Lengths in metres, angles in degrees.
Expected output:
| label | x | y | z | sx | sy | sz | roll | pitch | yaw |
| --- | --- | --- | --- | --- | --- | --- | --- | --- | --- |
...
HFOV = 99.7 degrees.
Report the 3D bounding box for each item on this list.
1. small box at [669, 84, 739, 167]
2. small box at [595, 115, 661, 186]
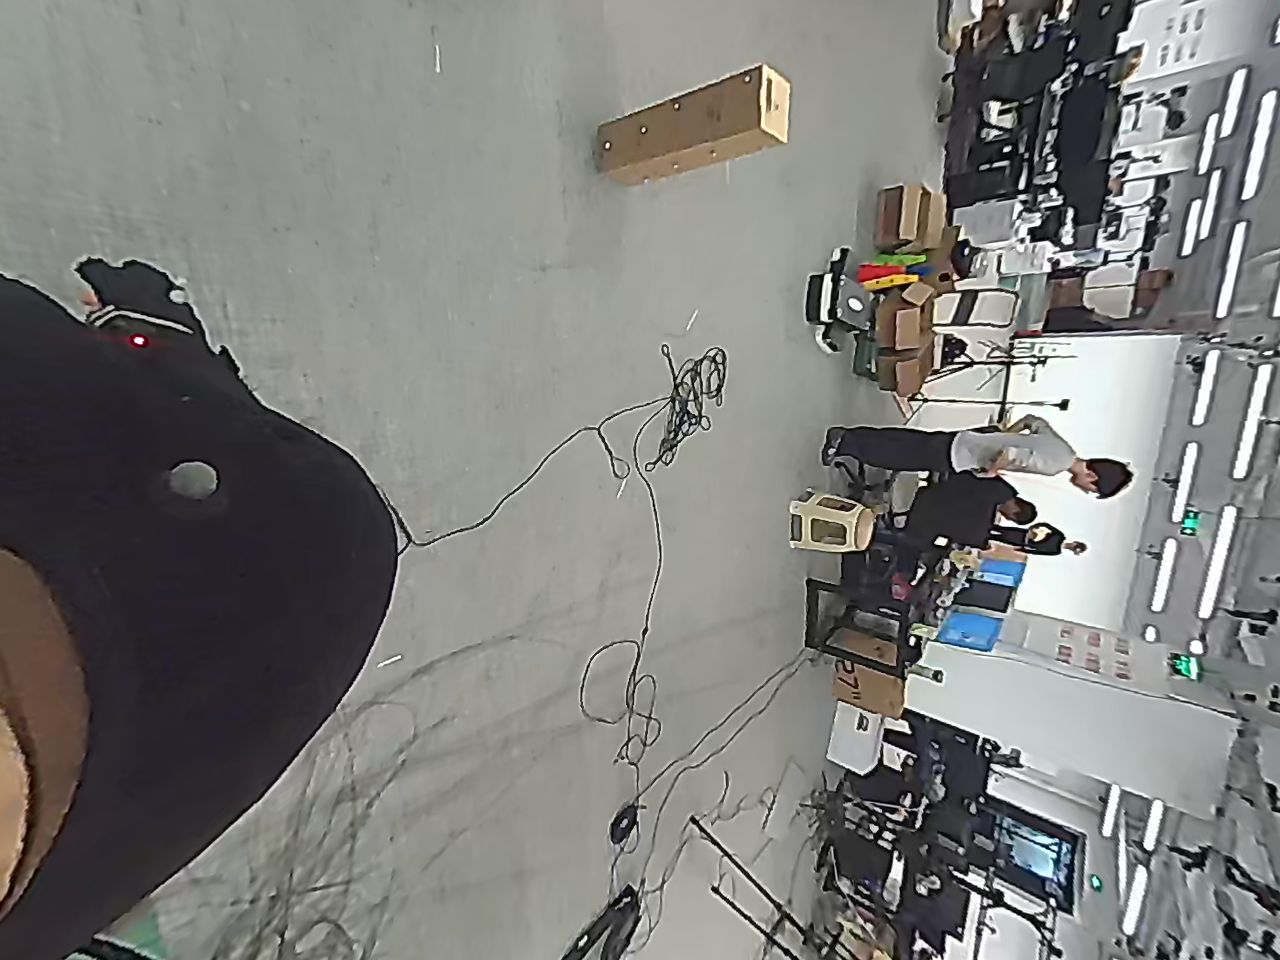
| label | x | y | z | sx | sy | sz | roll | pitch | yaw |
| --- | --- | --- | --- | --- | --- | --- | --- | --- | --- |
| small box | 0.208 | -1.155 | 1.779 | 0.179 | 0.176 | 0.168 | -14 | 109 | -49 |
| small box | -0.043 | -1.198 | 1.983 | 0.179 | 0.176 | 0.168 | -10 | 105 | -49 |
